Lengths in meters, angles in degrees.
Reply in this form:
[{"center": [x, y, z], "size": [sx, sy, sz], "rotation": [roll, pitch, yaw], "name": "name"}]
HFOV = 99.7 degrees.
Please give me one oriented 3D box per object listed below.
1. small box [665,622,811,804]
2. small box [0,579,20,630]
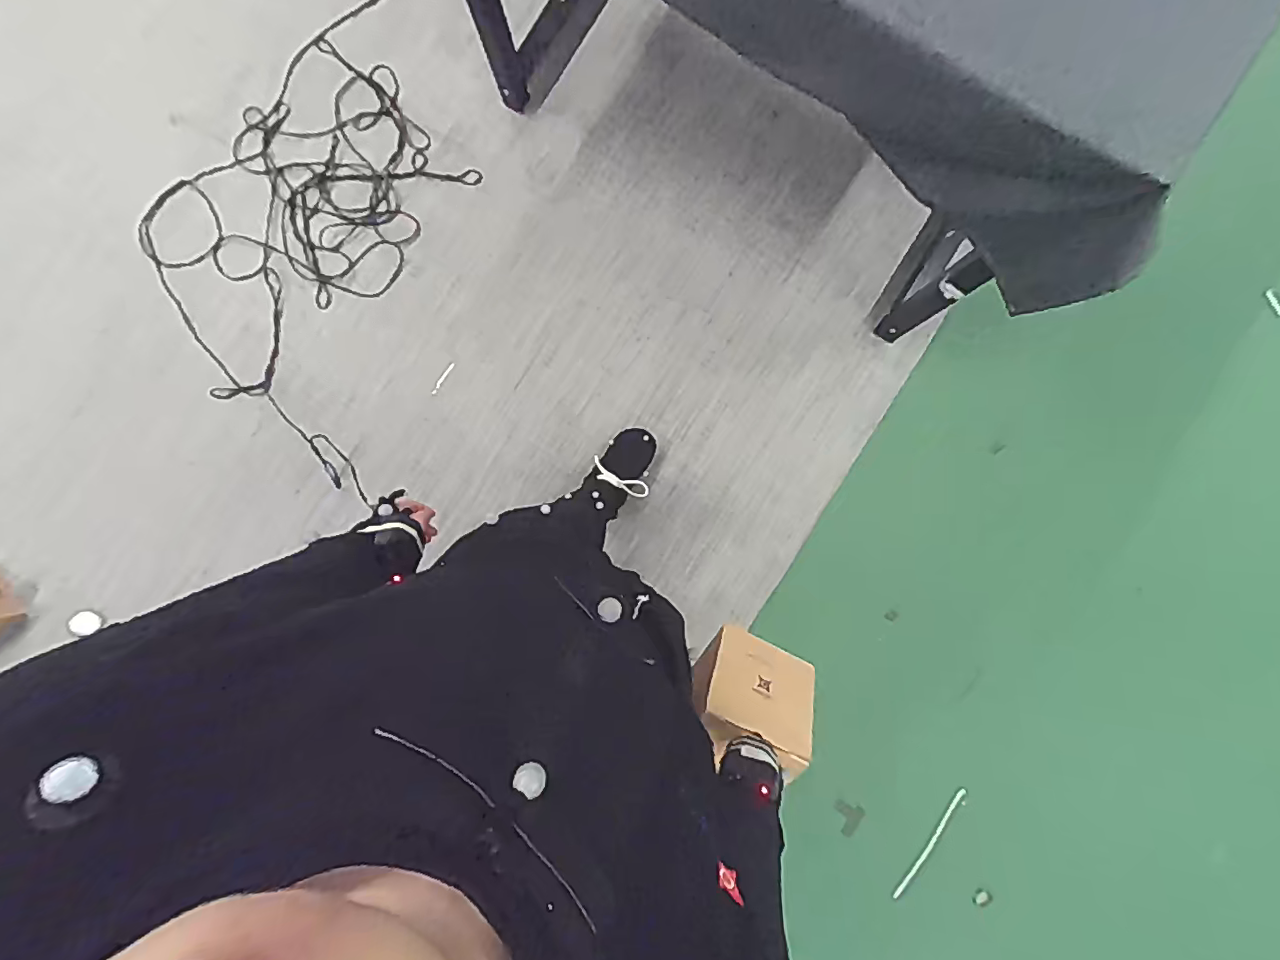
[{"center": [0.154, 0.370, 0.858], "size": [0.168, 0.179, 0.176], "rotation": [26, 124, 2], "name": "small box"}, {"center": [-1.674, 0.322, 1.287], "size": [0.179, 0.176, 0.168], "rotation": [-38, 88, -1], "name": "small box"}]
